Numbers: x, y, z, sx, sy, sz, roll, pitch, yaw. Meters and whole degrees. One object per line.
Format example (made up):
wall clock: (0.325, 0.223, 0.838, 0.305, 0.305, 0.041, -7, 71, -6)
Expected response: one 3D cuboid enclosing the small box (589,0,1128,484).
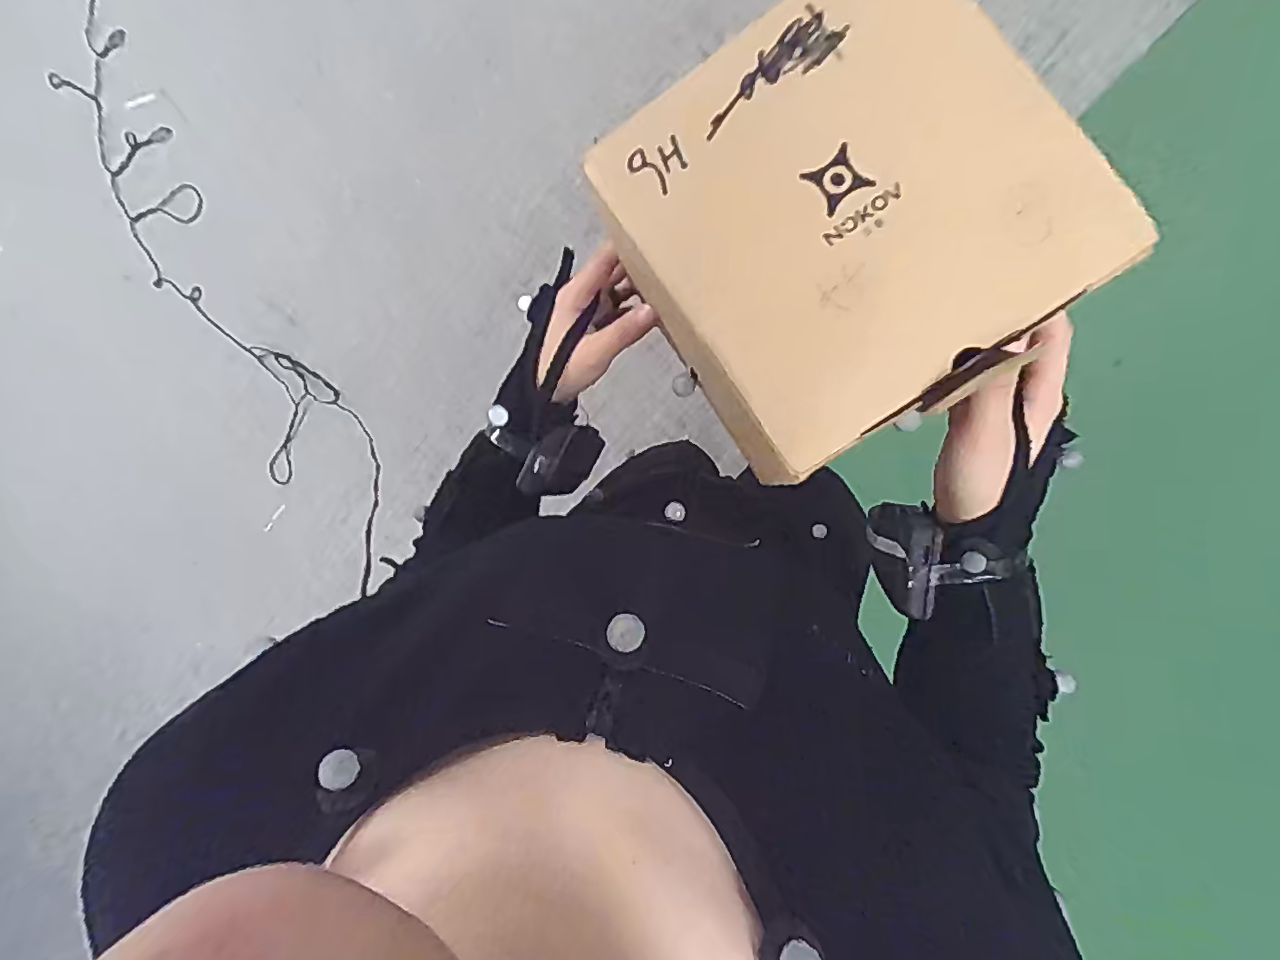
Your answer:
small box: (0.099, -0.112, 0.314, 0.168, 0.176, 0.179, -32, 84, 6)
